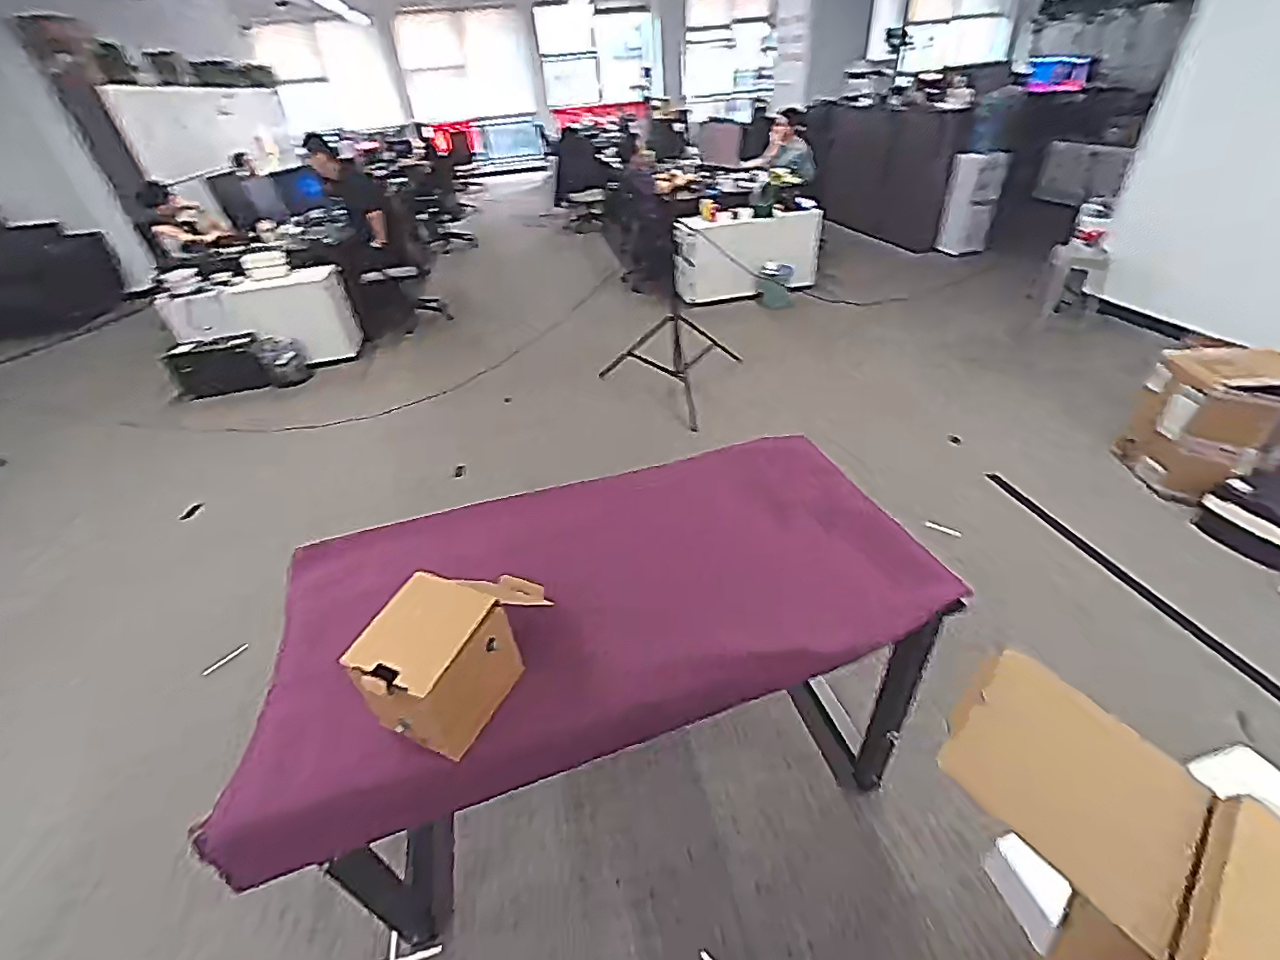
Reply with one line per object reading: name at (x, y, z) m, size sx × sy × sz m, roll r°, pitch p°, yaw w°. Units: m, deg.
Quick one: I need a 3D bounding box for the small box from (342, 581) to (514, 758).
small box at (-0.318, 0.295, 0.855) m, size 0.168 × 0.176 × 0.179 m, roll 11°, pitch 39°, yaw 23°
